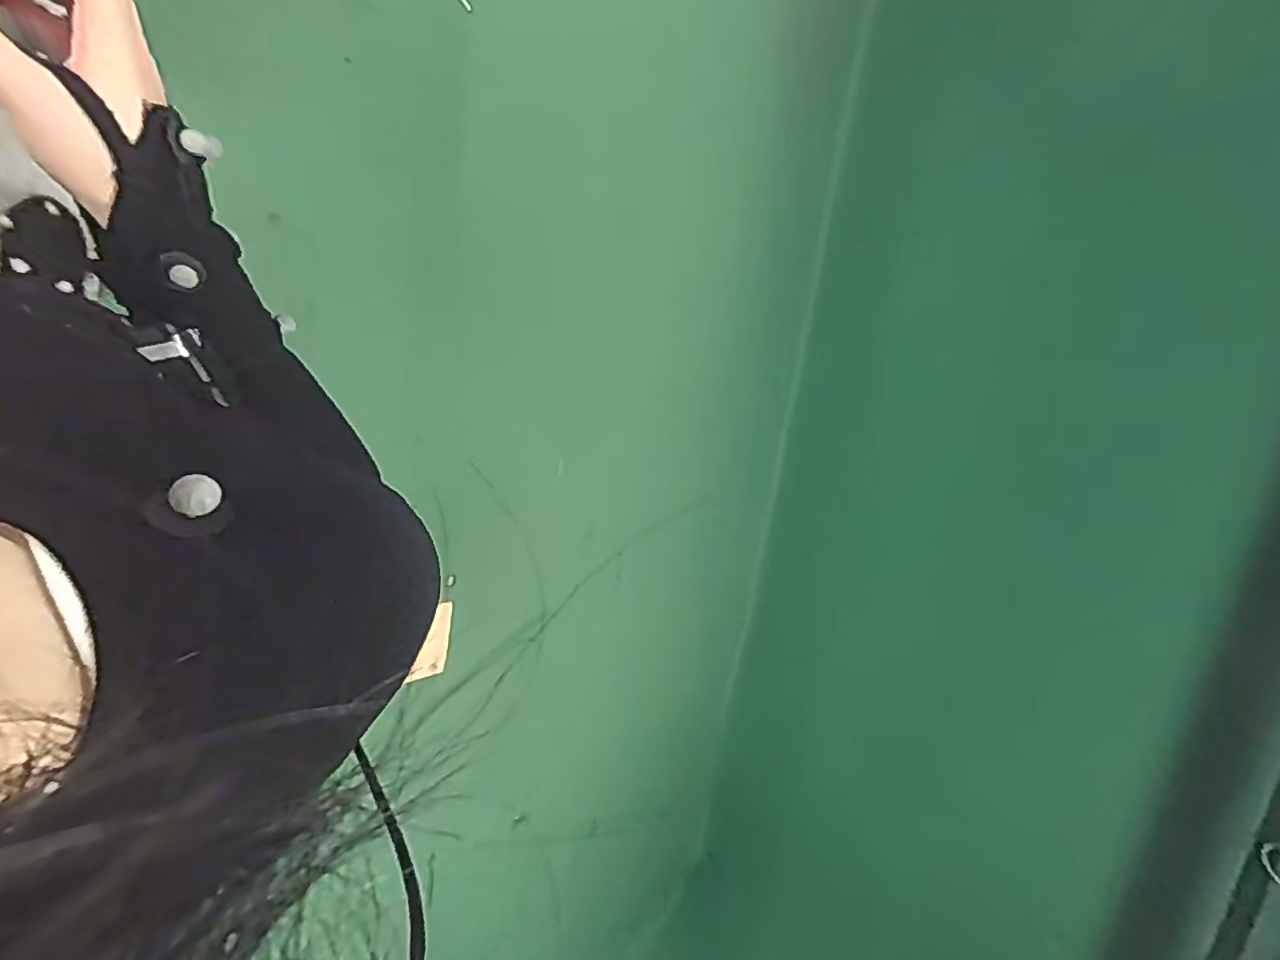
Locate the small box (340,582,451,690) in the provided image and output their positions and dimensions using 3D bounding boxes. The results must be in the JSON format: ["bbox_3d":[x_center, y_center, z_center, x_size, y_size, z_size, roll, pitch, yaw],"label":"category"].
[{"bbox_3d":[-0.556,0.340,1.225,0.168,0.176,0.179,1,101,-51],"label":"small box"}]
